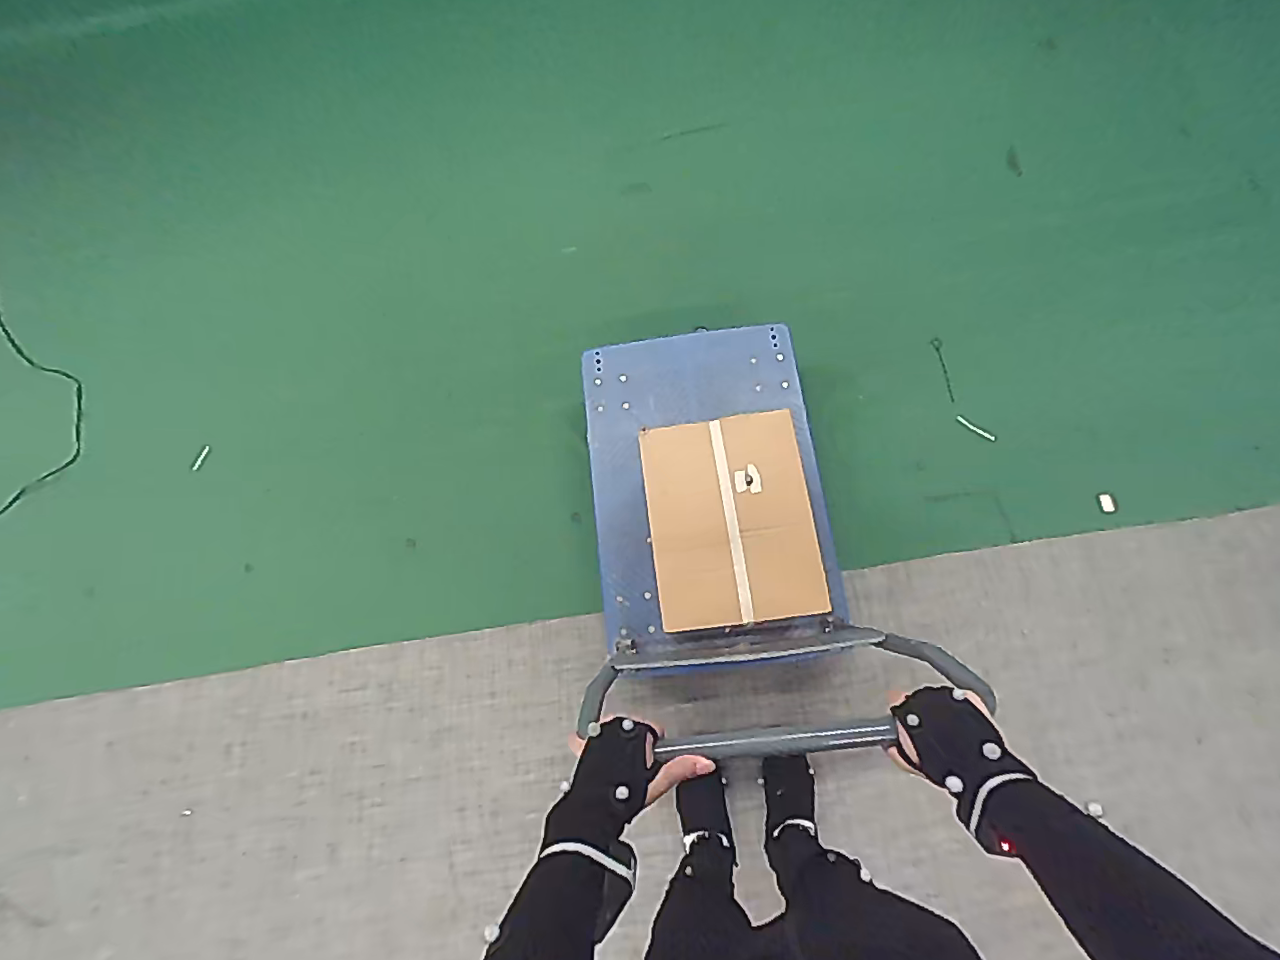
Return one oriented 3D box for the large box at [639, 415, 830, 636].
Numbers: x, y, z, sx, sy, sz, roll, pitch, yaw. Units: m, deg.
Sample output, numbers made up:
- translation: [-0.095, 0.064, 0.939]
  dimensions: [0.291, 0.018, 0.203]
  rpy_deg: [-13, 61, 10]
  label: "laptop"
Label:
- translation: [0.188, 0.118, 1.193]
  dimensions: [0.320, 0.320, 0.408]
  rpy_deg: [-8, 74, 2]
  label: "large box"
